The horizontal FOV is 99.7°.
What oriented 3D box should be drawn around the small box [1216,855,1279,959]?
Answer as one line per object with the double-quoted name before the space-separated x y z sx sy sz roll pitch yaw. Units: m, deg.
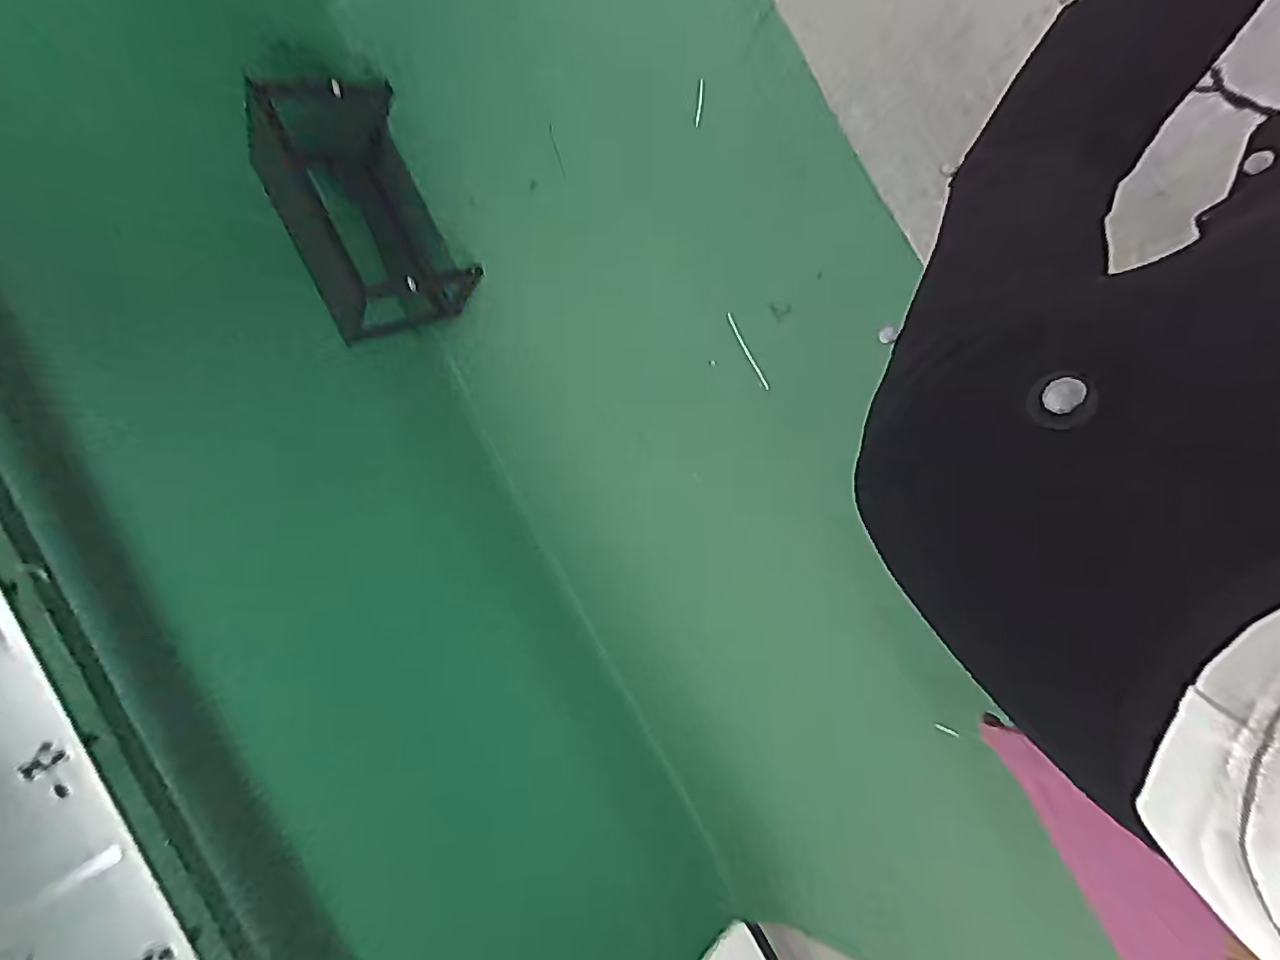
"small box" 0.946 0.654 0.729 0.168 0.176 0.179 60 146 1
